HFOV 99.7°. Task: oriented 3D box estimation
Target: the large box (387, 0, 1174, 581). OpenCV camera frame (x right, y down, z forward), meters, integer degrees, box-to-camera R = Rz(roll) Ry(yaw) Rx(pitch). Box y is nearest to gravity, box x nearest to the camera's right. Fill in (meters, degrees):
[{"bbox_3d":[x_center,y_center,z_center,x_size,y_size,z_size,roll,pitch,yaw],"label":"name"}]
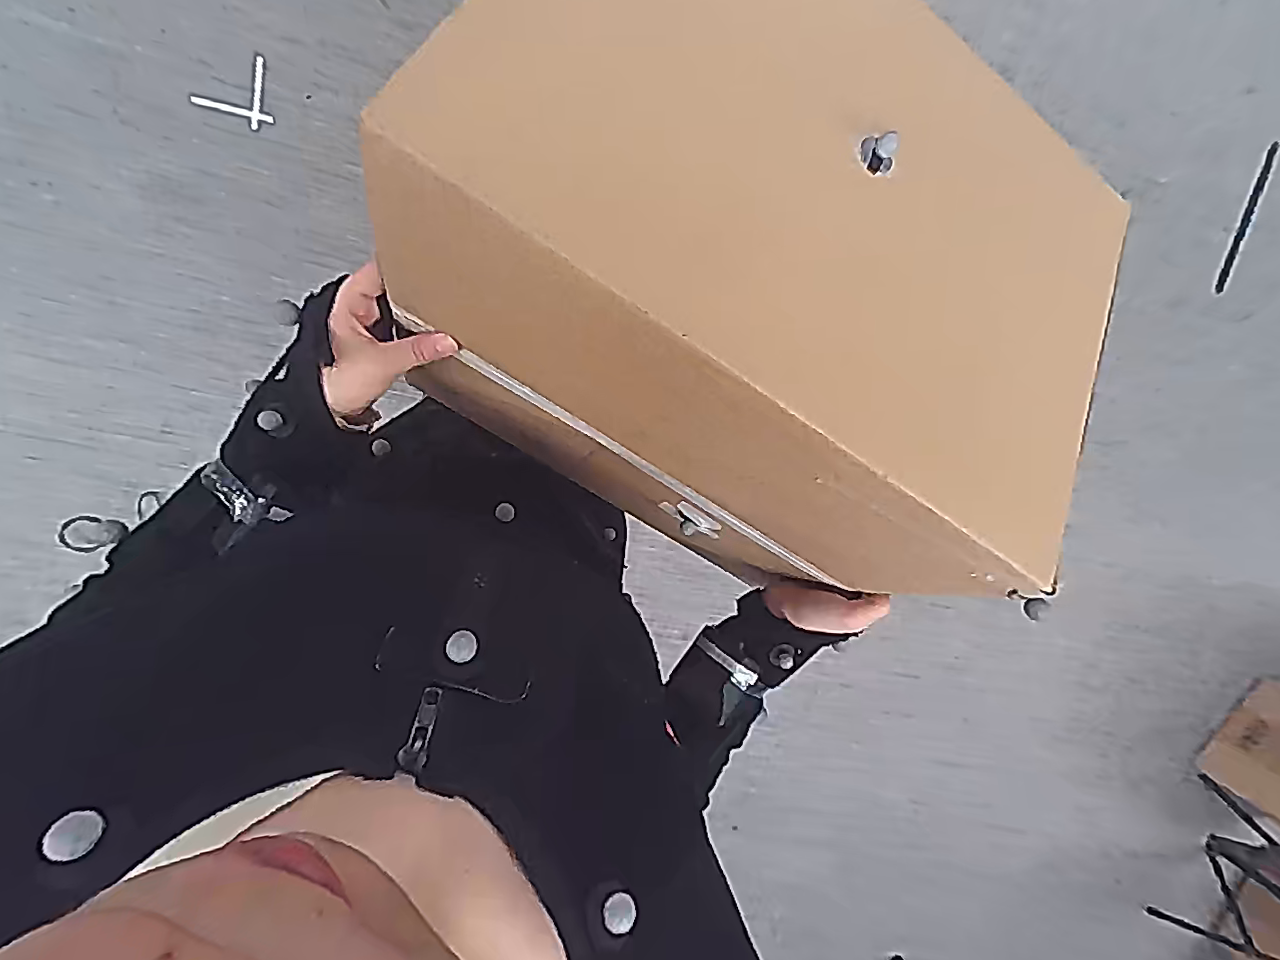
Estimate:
[{"bbox_3d":[0.088,-0.155,0.417,0.408,0.320,0.320,31,73,-13],"label":"large box"}]
